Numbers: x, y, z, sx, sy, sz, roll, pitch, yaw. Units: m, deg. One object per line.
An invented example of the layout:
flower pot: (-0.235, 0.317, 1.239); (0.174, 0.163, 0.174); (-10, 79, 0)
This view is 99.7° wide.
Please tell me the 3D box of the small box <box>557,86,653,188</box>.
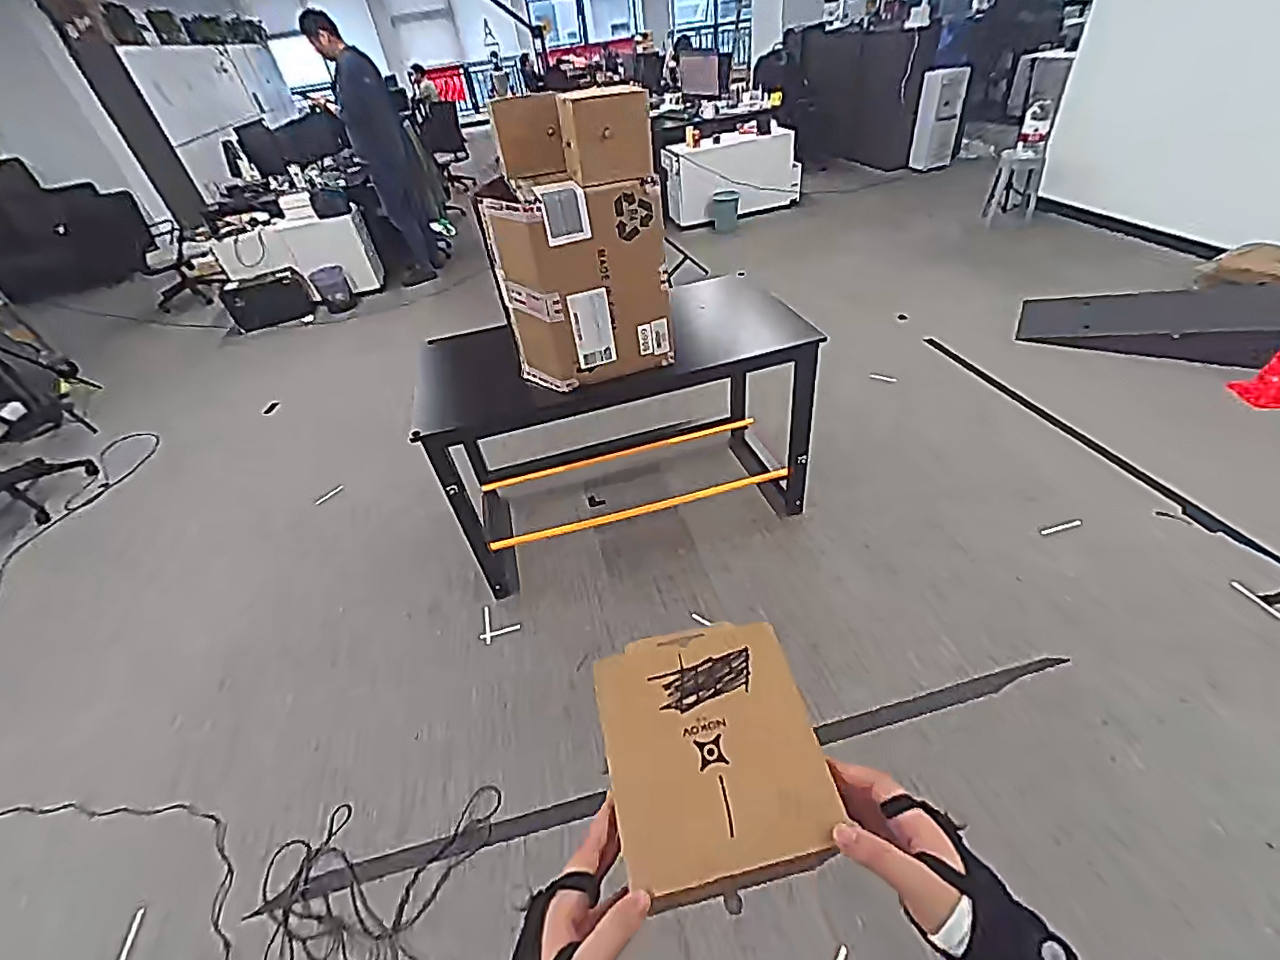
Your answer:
small box: (-0.079, -0.800, 1.263); (0.179, 0.176, 0.168); (-16, 43, -10)

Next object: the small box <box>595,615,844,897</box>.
small box: (0.058, 0.256, 0.500); (0.168, 0.176, 0.179); (-12, 49, -5)

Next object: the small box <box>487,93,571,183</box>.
small box: (-0.281, -0.883, 1.393); (0.179, 0.176, 0.168); (-16, 38, -10)
